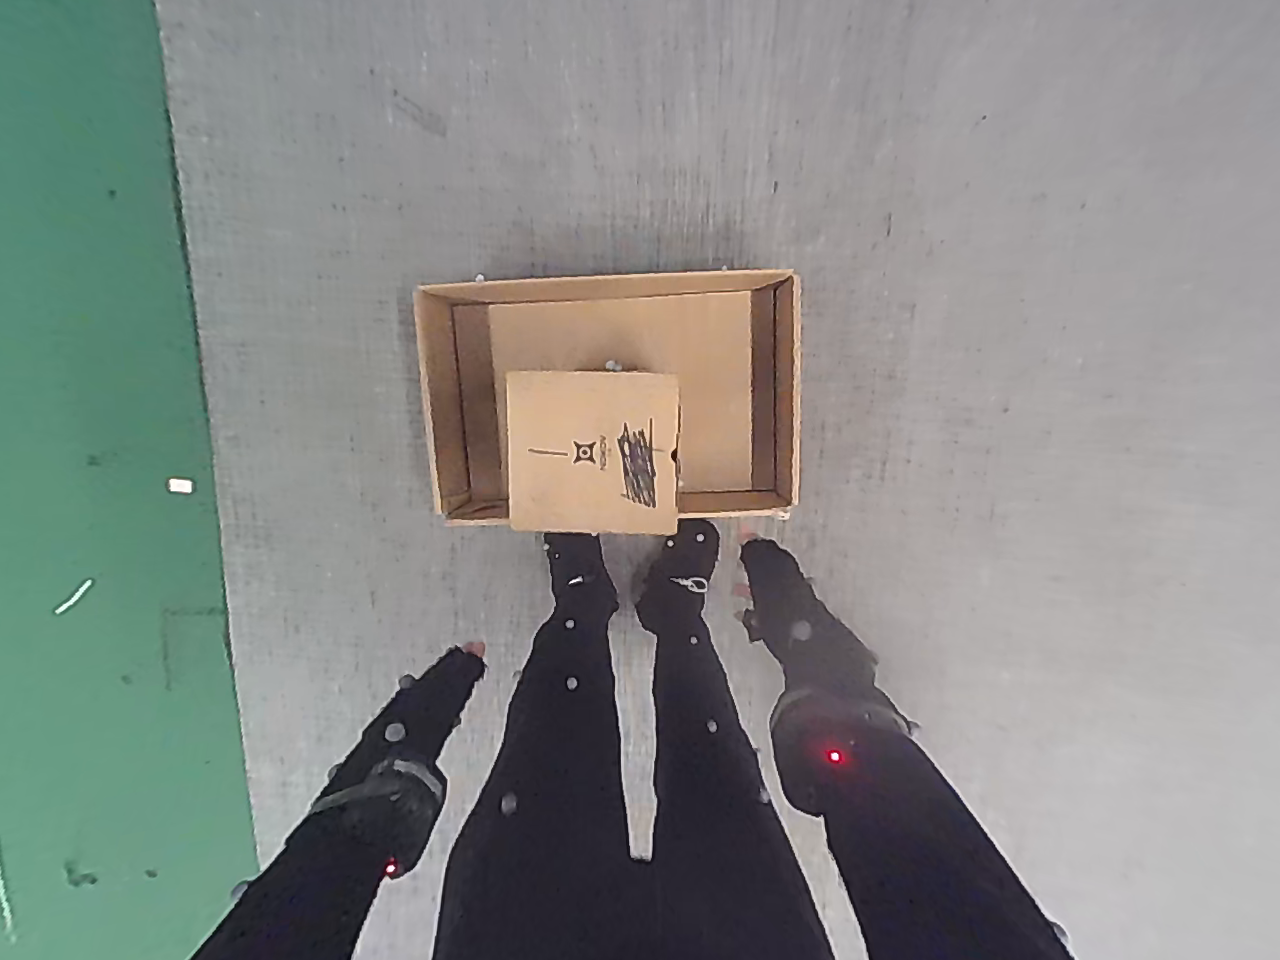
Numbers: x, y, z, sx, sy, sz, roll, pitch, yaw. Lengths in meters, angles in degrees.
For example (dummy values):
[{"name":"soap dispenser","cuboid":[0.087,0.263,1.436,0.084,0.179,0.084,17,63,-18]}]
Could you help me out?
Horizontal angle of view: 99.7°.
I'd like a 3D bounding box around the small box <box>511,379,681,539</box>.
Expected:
[{"name":"small box","cuboid":[-0.047,-0.032,0.643,0.179,0.176,0.168,2,98,1]}]
